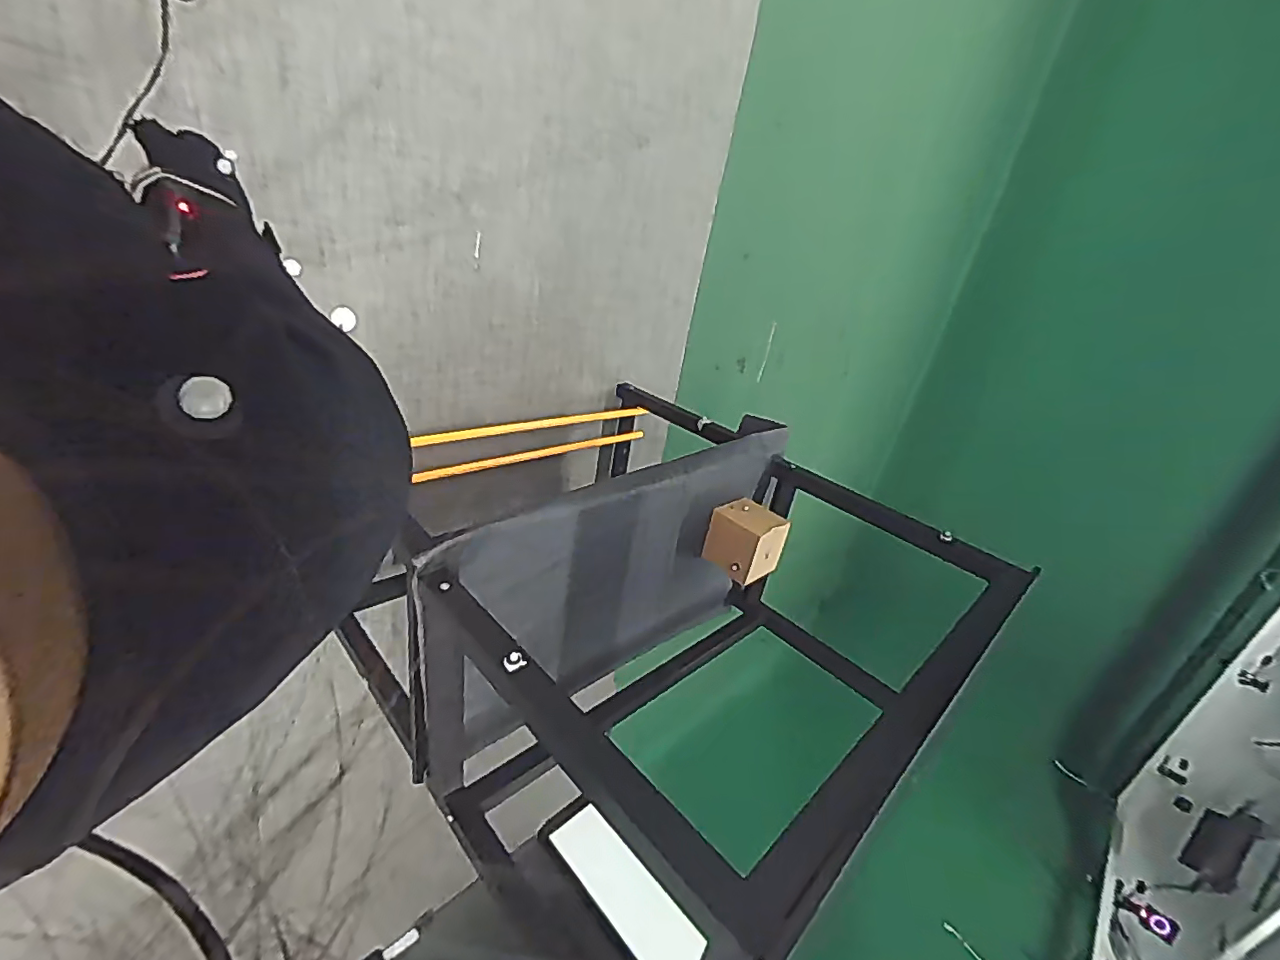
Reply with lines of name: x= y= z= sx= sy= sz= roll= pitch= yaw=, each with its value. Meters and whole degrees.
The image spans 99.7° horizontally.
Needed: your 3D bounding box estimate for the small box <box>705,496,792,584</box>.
small box: x=0.315 y=0.172 z=1.604 sx=0.168 sy=0.176 sz=0.179 roll=-15 pitch=126 yaw=-43
